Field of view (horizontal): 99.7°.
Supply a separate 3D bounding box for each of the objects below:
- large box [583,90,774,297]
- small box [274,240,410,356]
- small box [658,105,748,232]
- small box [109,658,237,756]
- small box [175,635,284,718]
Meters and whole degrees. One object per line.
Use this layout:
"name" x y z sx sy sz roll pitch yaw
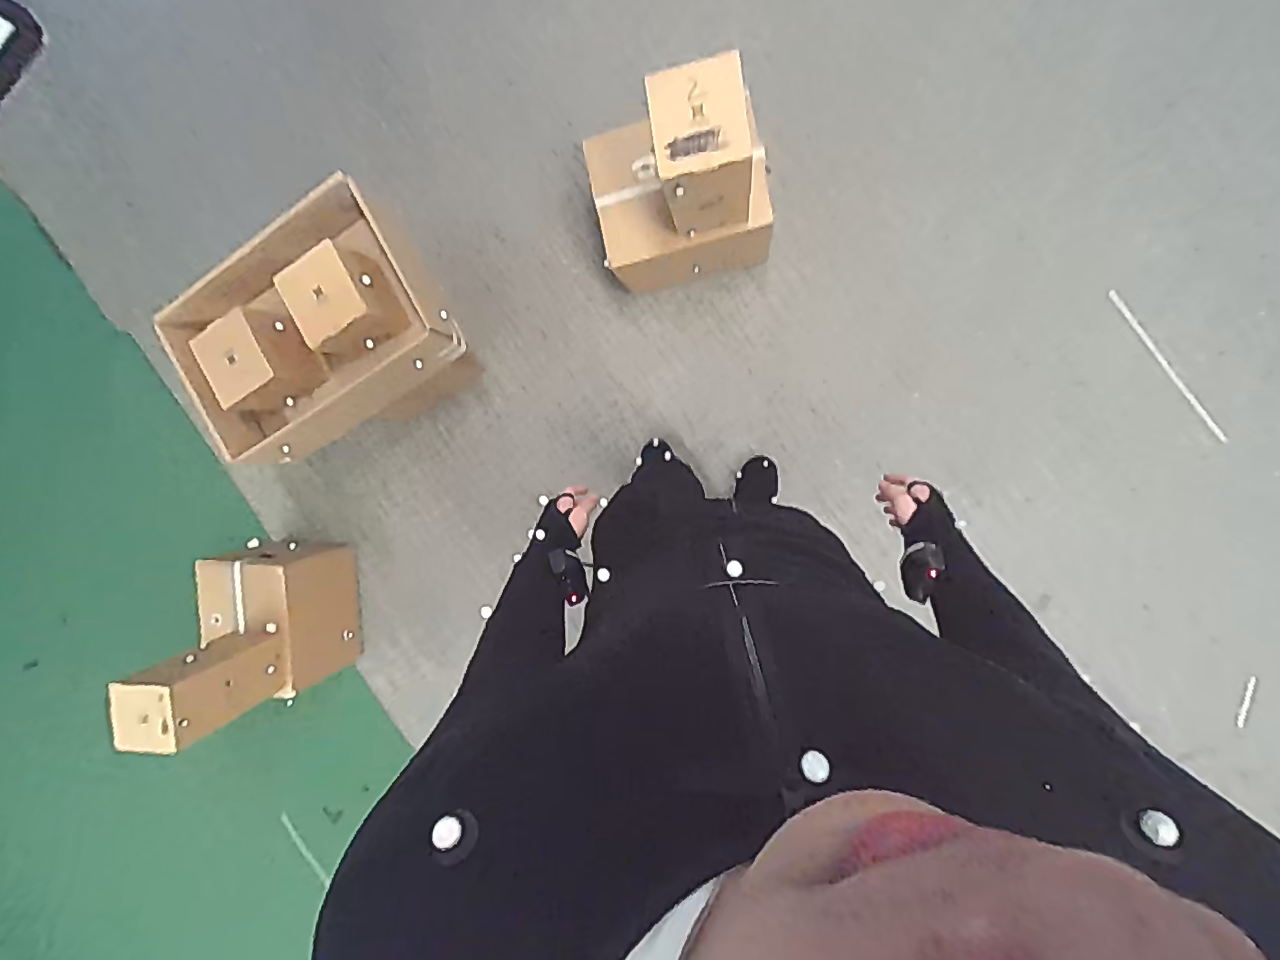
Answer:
"large box" 0.113 -0.713 1.416 0.408 0.320 0.320 -12 93 12
"small box" -0.667 -0.401 1.228 0.168 0.176 0.179 -28 92 11
"small box" 0.143 -0.655 1.165 0.168 0.176 0.179 -8 95 11
"small box" -1.157 0.558 1.349 0.179 0.176 0.168 -1 95 10
"small box" -1.140 0.543 1.512 0.179 0.176 0.168 0 96 9
